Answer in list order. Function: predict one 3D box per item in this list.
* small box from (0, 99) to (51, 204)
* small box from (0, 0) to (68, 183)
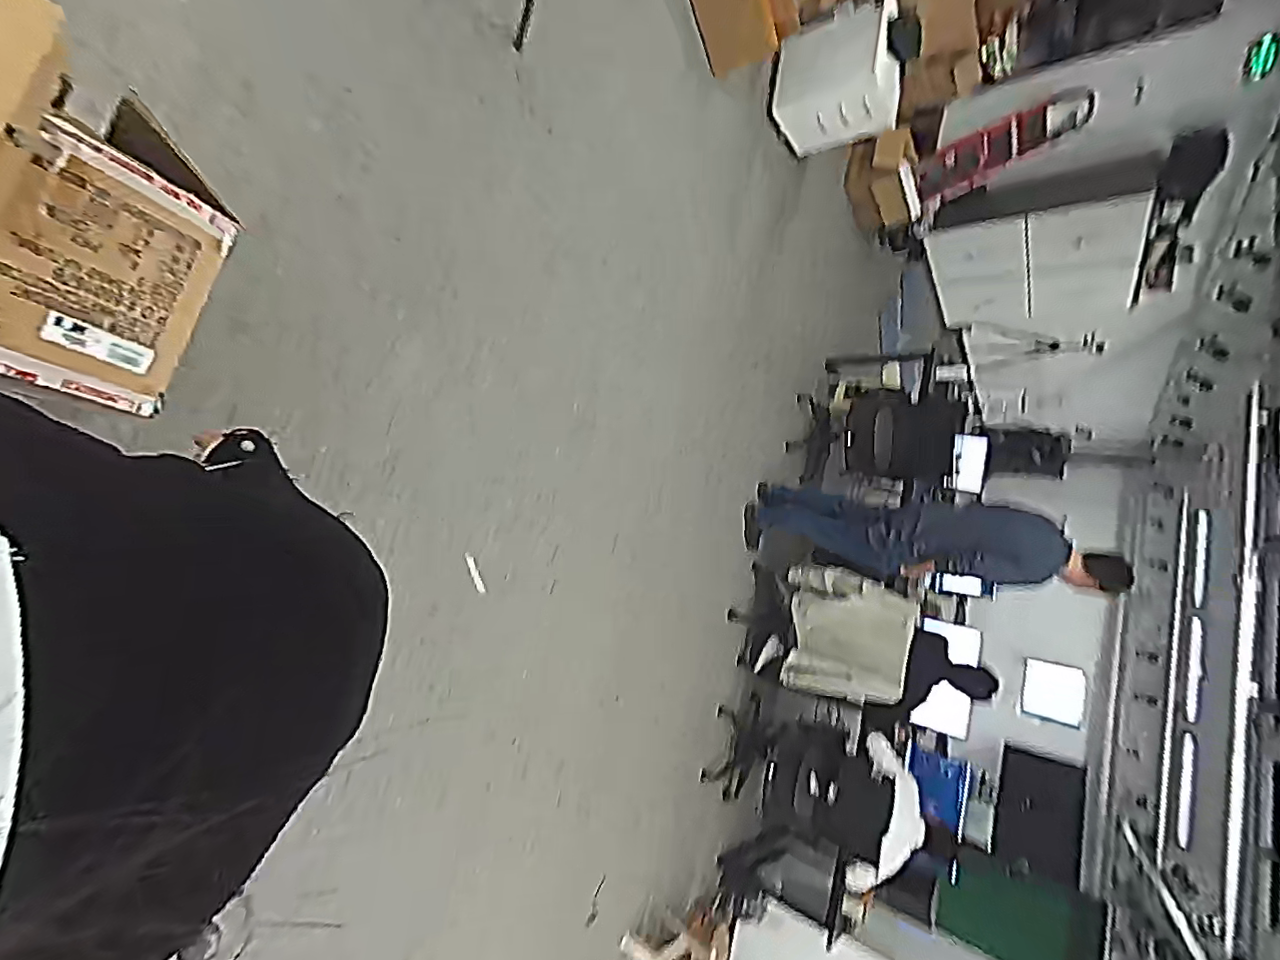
[{"bbox_3d":[-0.752,-0.396,0.552,0.168,0.176,0.179,27,77,-48],"label":"small box"},{"bbox_3d":[-0.626,-0.367,0.448,0.168,0.176,0.179,29,76,-48],"label":"small box"}]
